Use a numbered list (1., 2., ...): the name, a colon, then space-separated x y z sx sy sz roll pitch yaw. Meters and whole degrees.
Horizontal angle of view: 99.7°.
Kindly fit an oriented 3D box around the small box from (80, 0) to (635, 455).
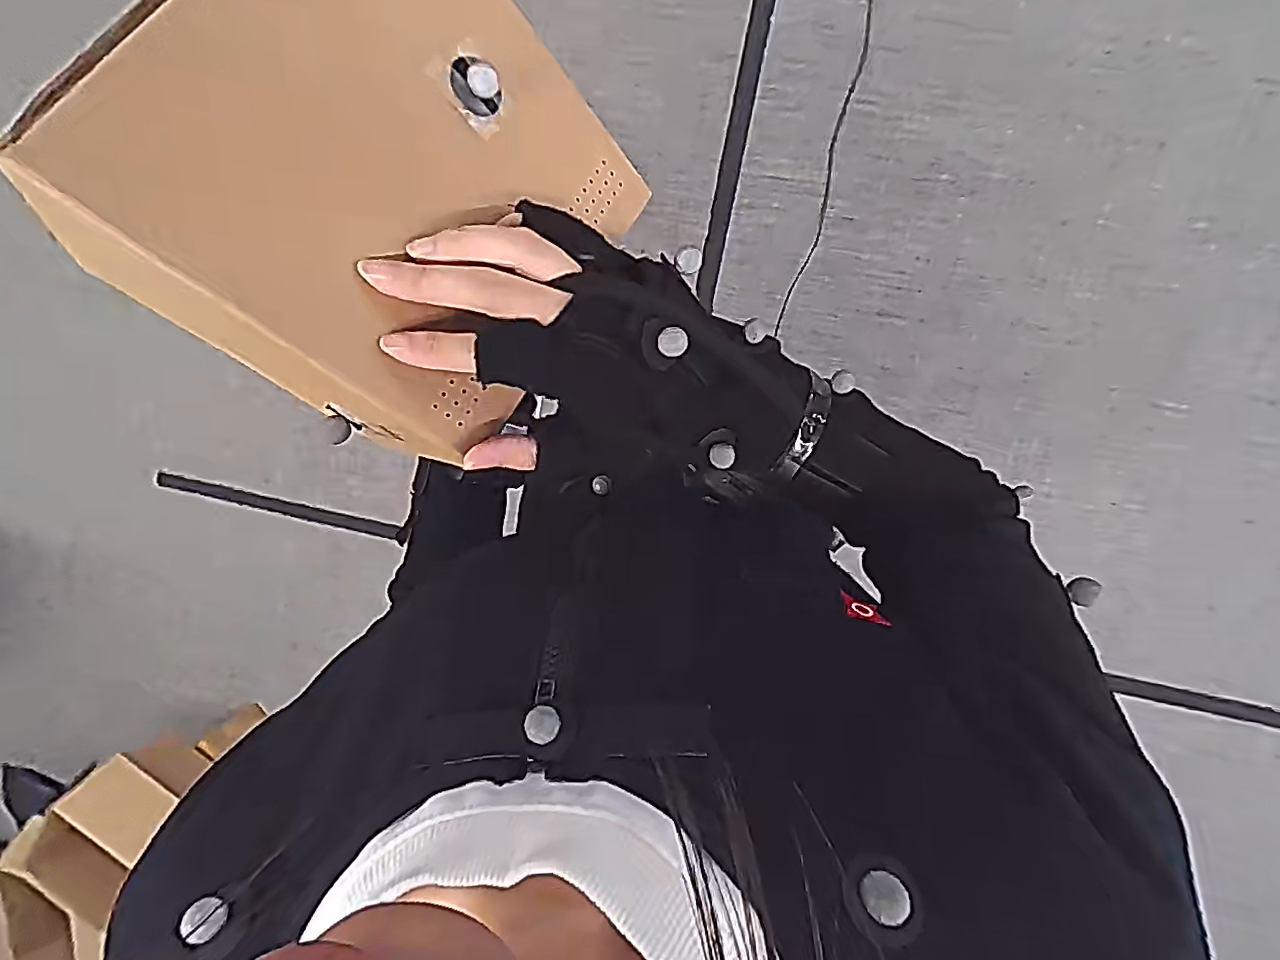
1. small box: -0.128 -0.137 0.294 0.176 0.168 0.179 40 72 -35
